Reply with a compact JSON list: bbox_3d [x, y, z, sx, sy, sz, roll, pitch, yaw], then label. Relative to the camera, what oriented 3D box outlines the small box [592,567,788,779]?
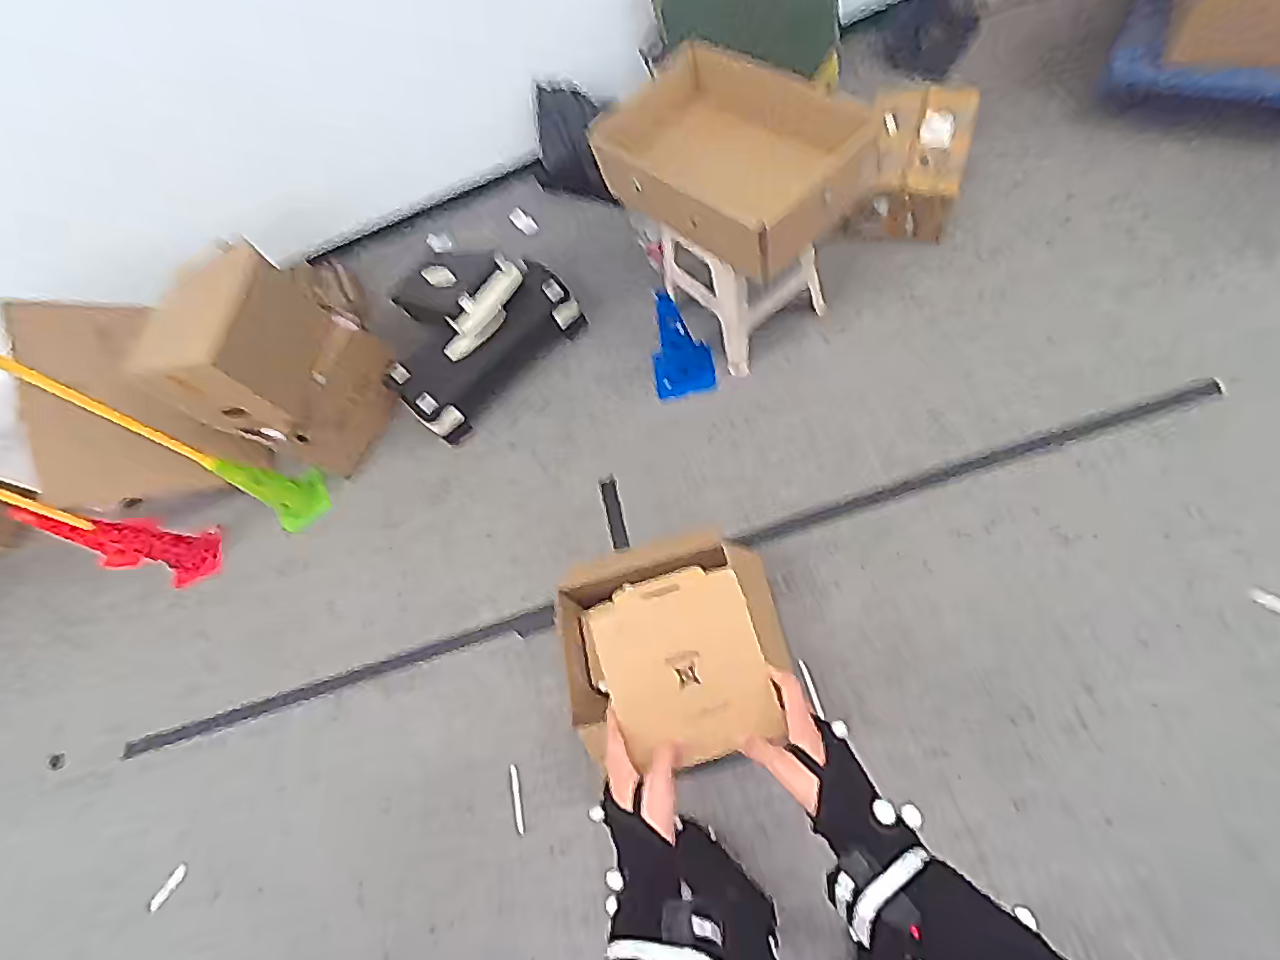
[{"bbox_3d":[0.049,0.214,0.636,0.168,0.176,0.179,-17,78,-2],"label":"small box"}]
